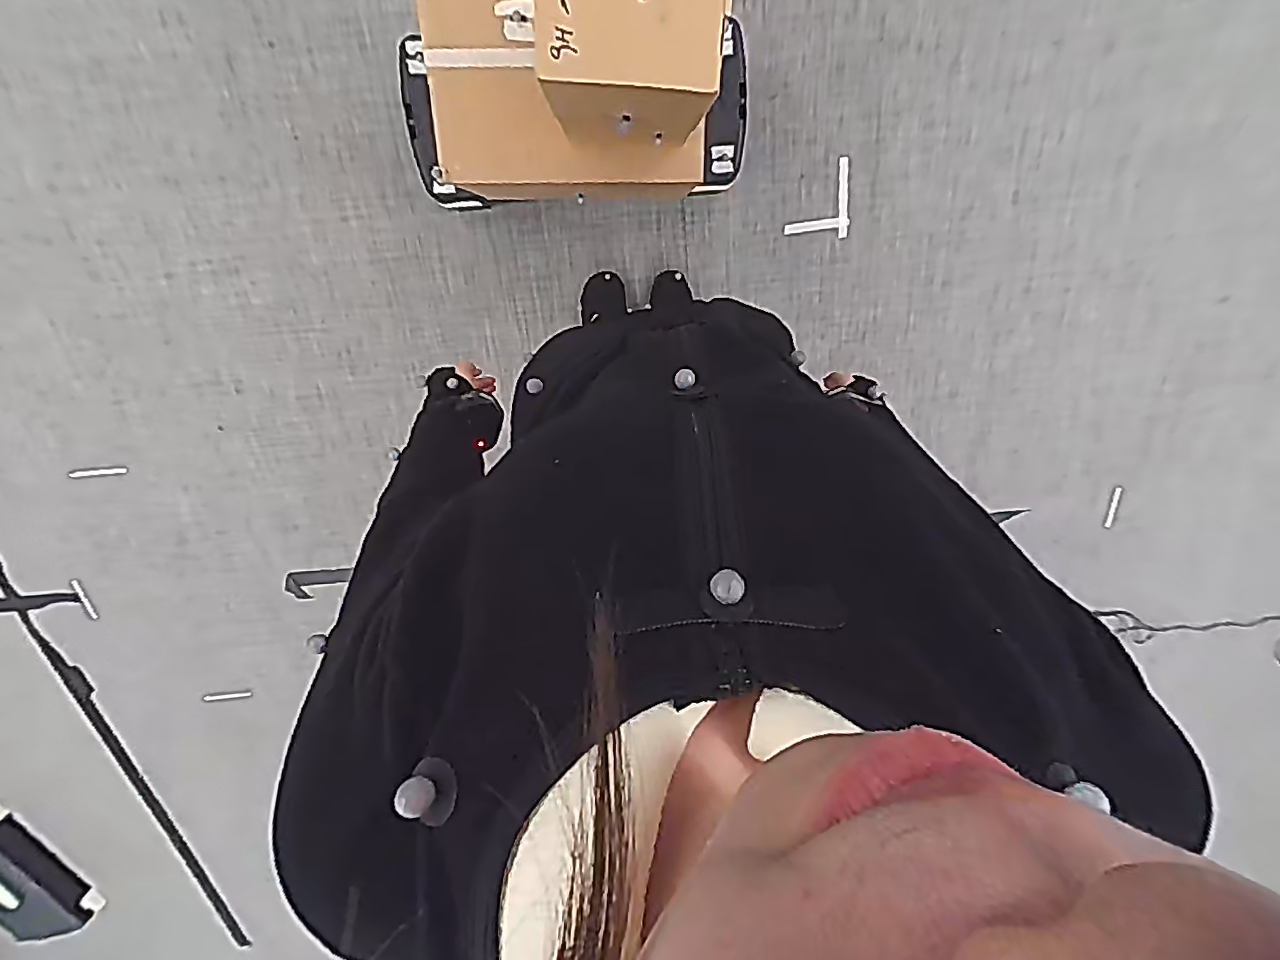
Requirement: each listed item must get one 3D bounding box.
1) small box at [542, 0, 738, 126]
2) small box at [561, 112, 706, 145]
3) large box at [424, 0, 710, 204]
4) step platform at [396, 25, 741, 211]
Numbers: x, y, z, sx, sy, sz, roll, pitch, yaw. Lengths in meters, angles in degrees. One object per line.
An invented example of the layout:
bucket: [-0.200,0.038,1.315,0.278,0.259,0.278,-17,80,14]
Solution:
small box: [-0.003,-0.472,0.541,0.179,0.176,0.168,2,112,-4]
small box: [-0.008,-0.540,0.691,0.179,0.176,0.168,1,112,-2]
large box: [-0.099,-0.649,0.906,0.408,0.320,0.320,-1,112,-1]
step platform: [-0.135,-0.736,1.127,0.684,0.204,0.286,1,112,-2]
